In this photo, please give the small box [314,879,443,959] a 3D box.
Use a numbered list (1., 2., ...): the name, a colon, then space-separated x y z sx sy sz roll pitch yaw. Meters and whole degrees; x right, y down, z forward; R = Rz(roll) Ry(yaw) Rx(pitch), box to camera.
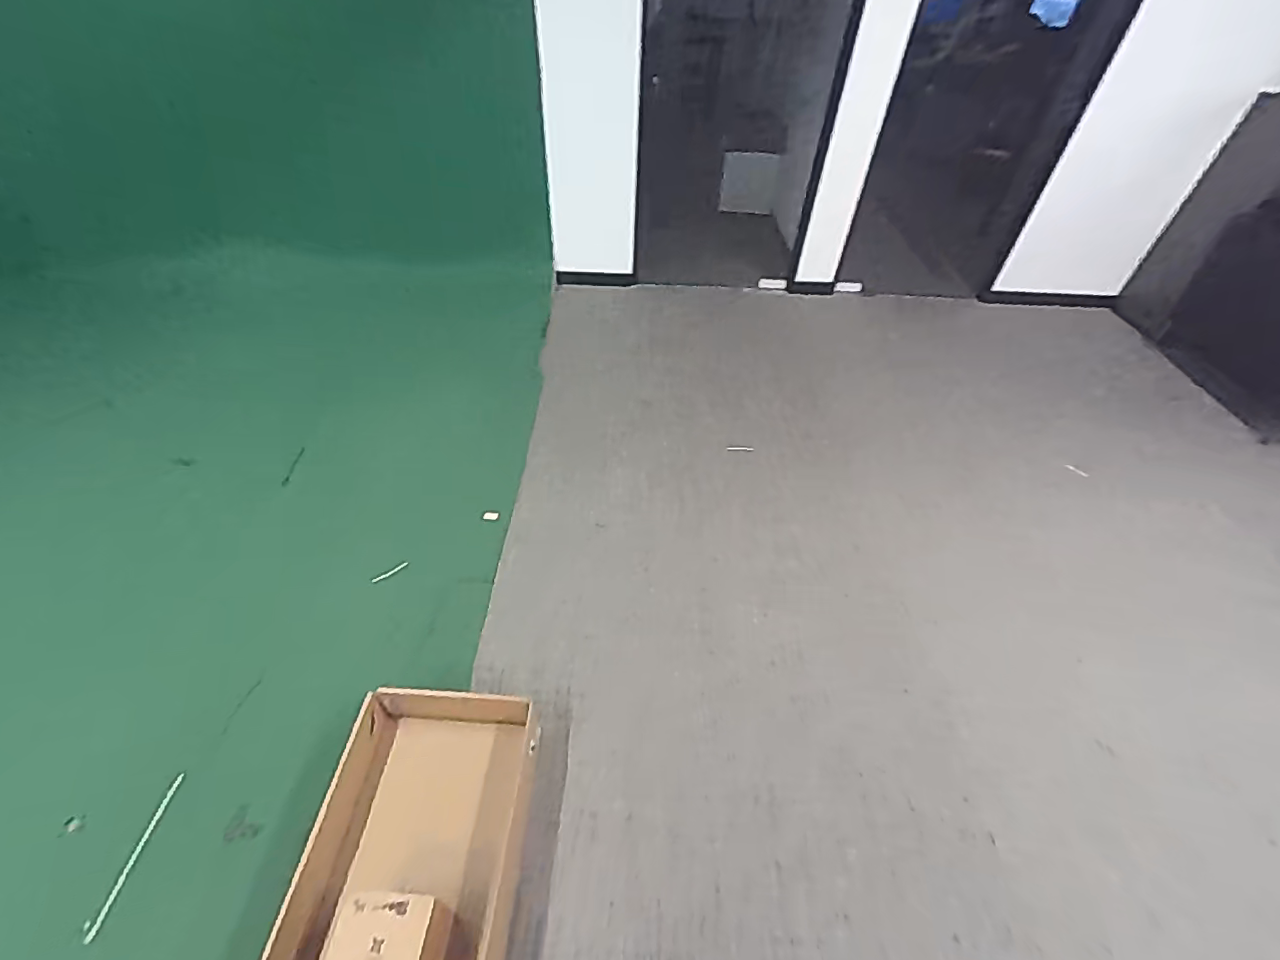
1. small box: -0.484 0.870 1.008 0.168 0.176 0.179 6 46 -1
